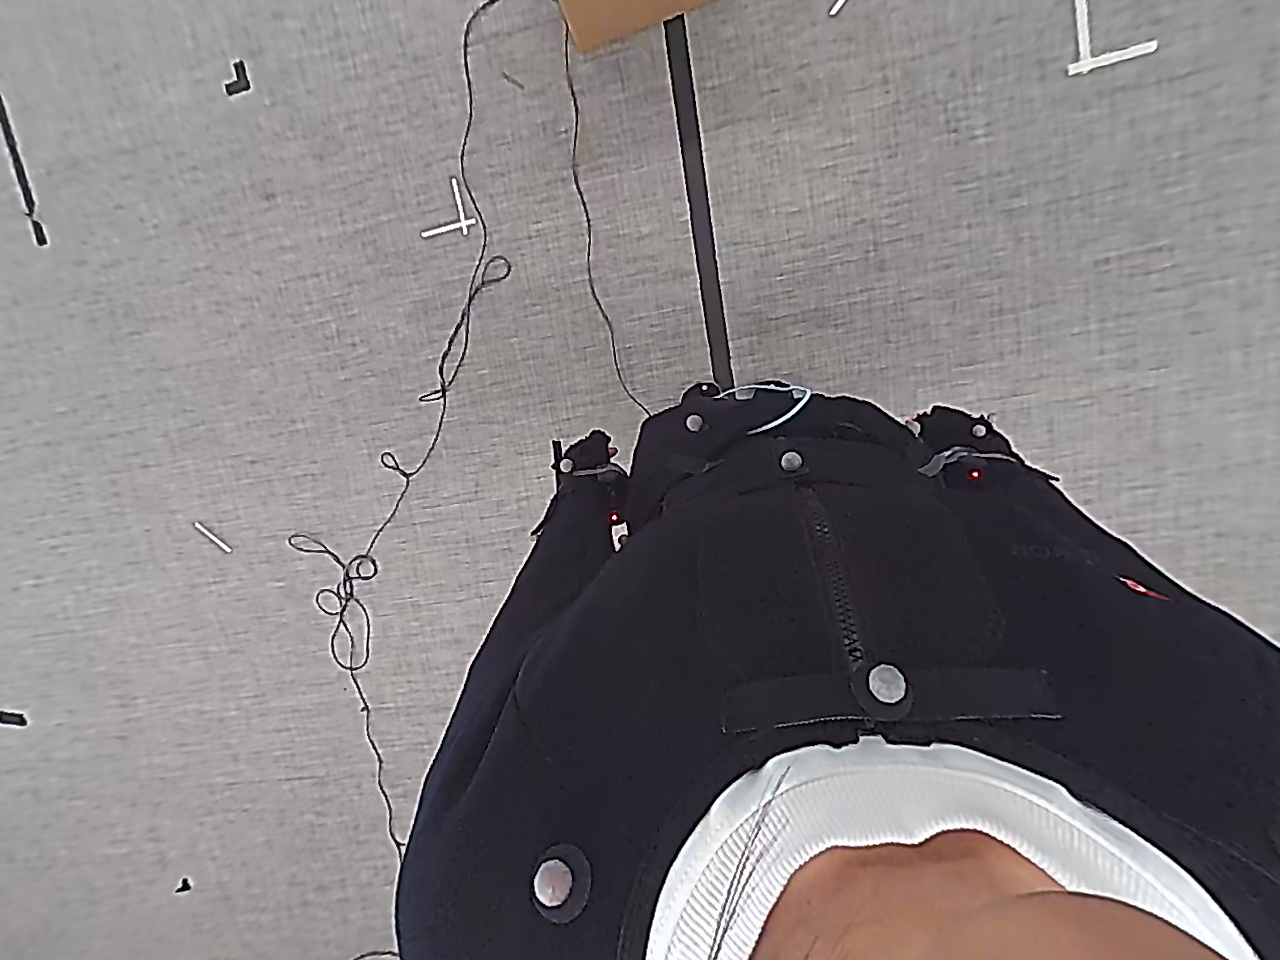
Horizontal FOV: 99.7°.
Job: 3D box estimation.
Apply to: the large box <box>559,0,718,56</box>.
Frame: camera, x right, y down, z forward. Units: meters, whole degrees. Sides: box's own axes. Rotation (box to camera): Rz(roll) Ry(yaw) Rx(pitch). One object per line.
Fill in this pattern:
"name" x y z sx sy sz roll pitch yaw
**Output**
"large box" -0.017 -1.180 1.101 0.408 0.320 0.320 -15 100 8
